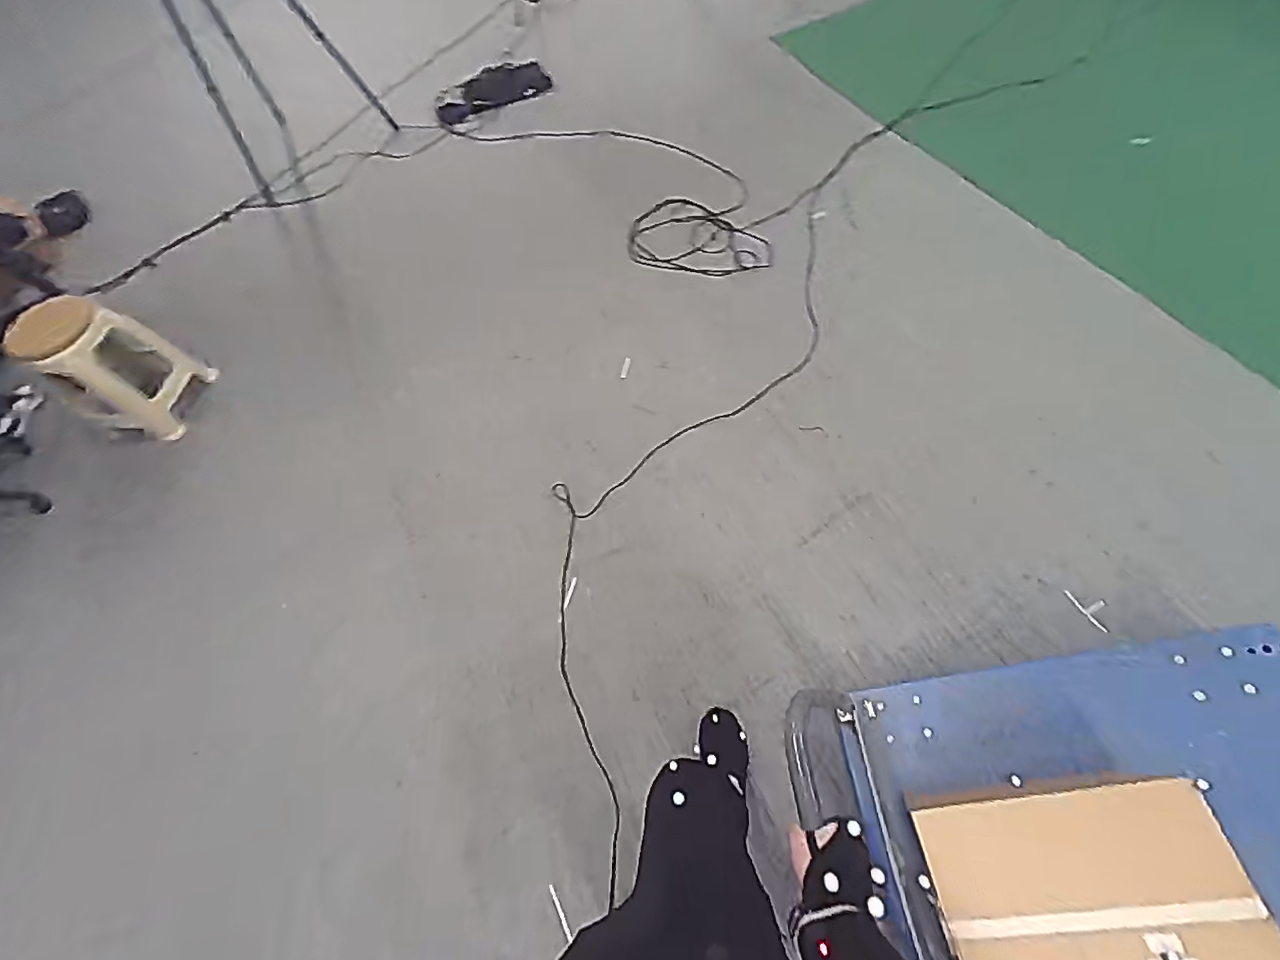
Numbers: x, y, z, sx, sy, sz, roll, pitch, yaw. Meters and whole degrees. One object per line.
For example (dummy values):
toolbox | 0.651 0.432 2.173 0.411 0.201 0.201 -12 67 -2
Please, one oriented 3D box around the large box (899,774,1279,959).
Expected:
large box | 0.704 0.697 0.911 0.408 0.320 0.320 -17 60 14
